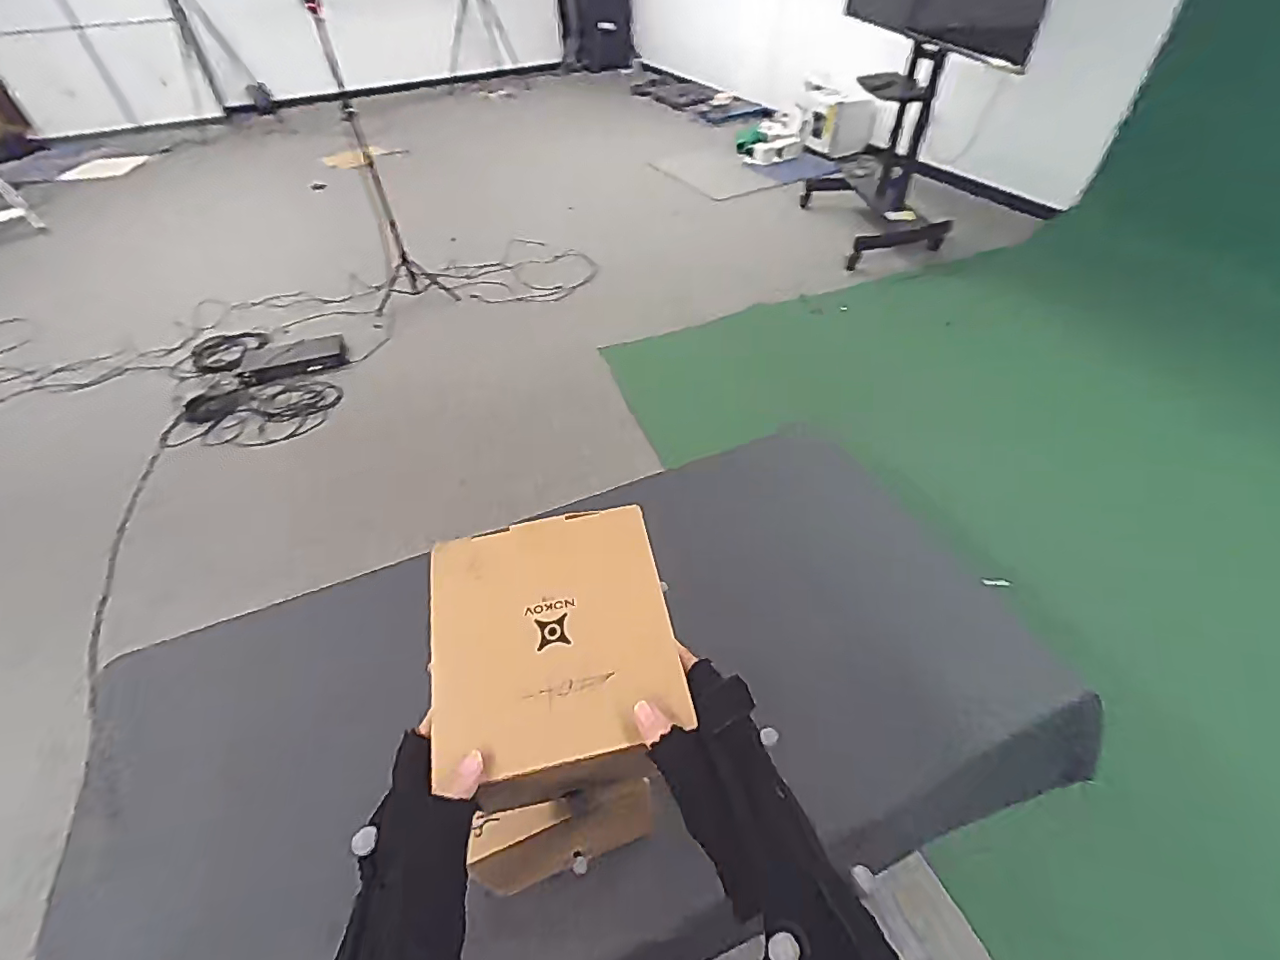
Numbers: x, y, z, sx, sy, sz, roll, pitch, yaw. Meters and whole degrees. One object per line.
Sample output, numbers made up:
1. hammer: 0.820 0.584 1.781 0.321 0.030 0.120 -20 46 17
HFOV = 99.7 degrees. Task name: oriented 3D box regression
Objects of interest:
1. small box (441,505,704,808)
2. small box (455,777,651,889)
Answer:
1. small box: -0.056 0.147 0.444 0.168 0.176 0.179 -10 56 -7
2. small box: -0.096 0.310 0.595 0.179 0.176 0.168 -18 46 -13
